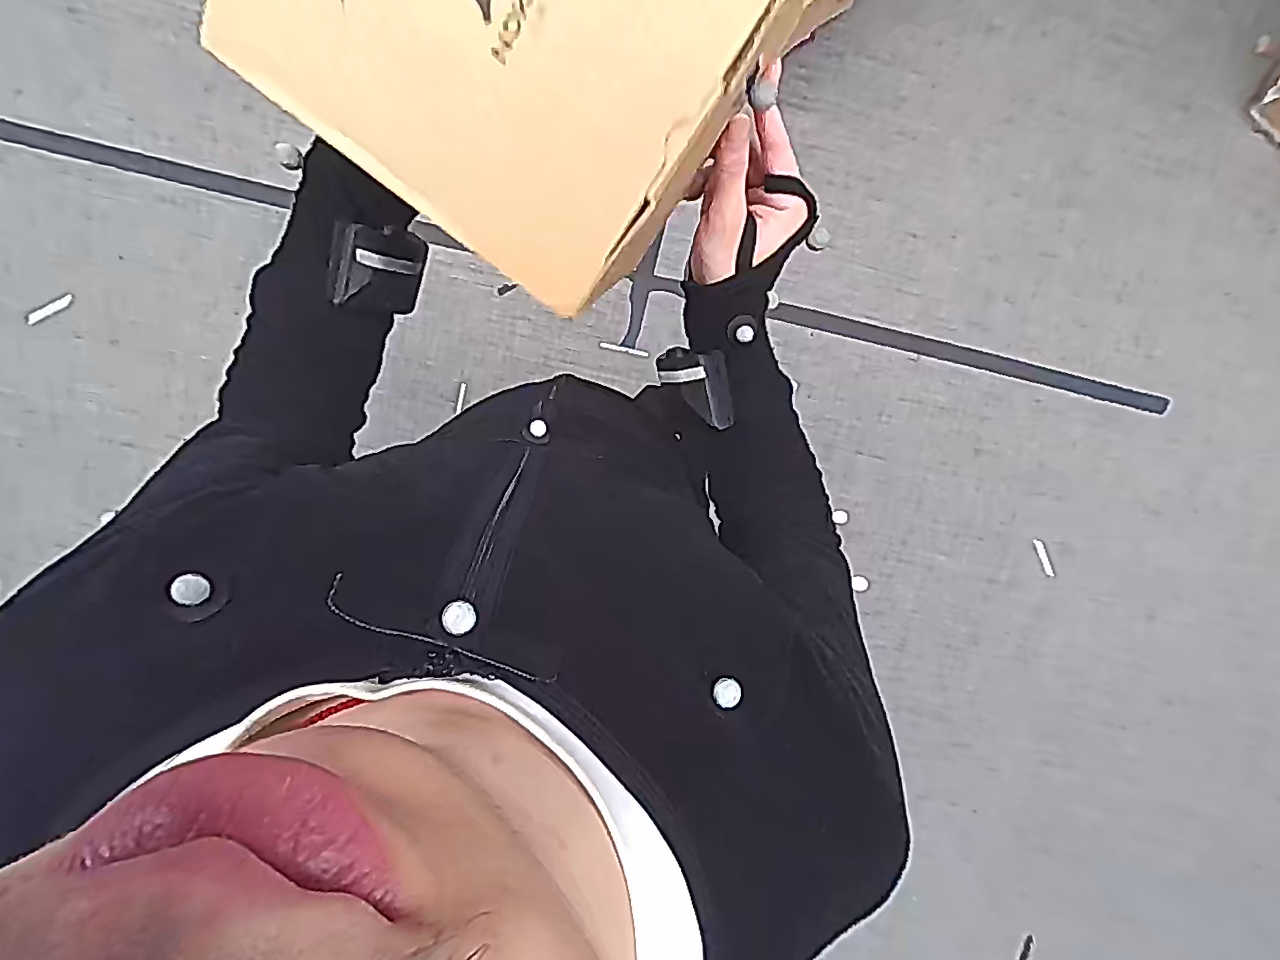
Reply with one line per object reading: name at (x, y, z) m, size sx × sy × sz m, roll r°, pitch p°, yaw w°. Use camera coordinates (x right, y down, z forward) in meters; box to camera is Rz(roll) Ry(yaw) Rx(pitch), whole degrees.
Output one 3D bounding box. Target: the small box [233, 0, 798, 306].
small box at (-0.037, -0.217, 0.266) m, size 0.179 × 0.176 × 0.168 m, roll 35°, pitch 116°, yaw -9°
